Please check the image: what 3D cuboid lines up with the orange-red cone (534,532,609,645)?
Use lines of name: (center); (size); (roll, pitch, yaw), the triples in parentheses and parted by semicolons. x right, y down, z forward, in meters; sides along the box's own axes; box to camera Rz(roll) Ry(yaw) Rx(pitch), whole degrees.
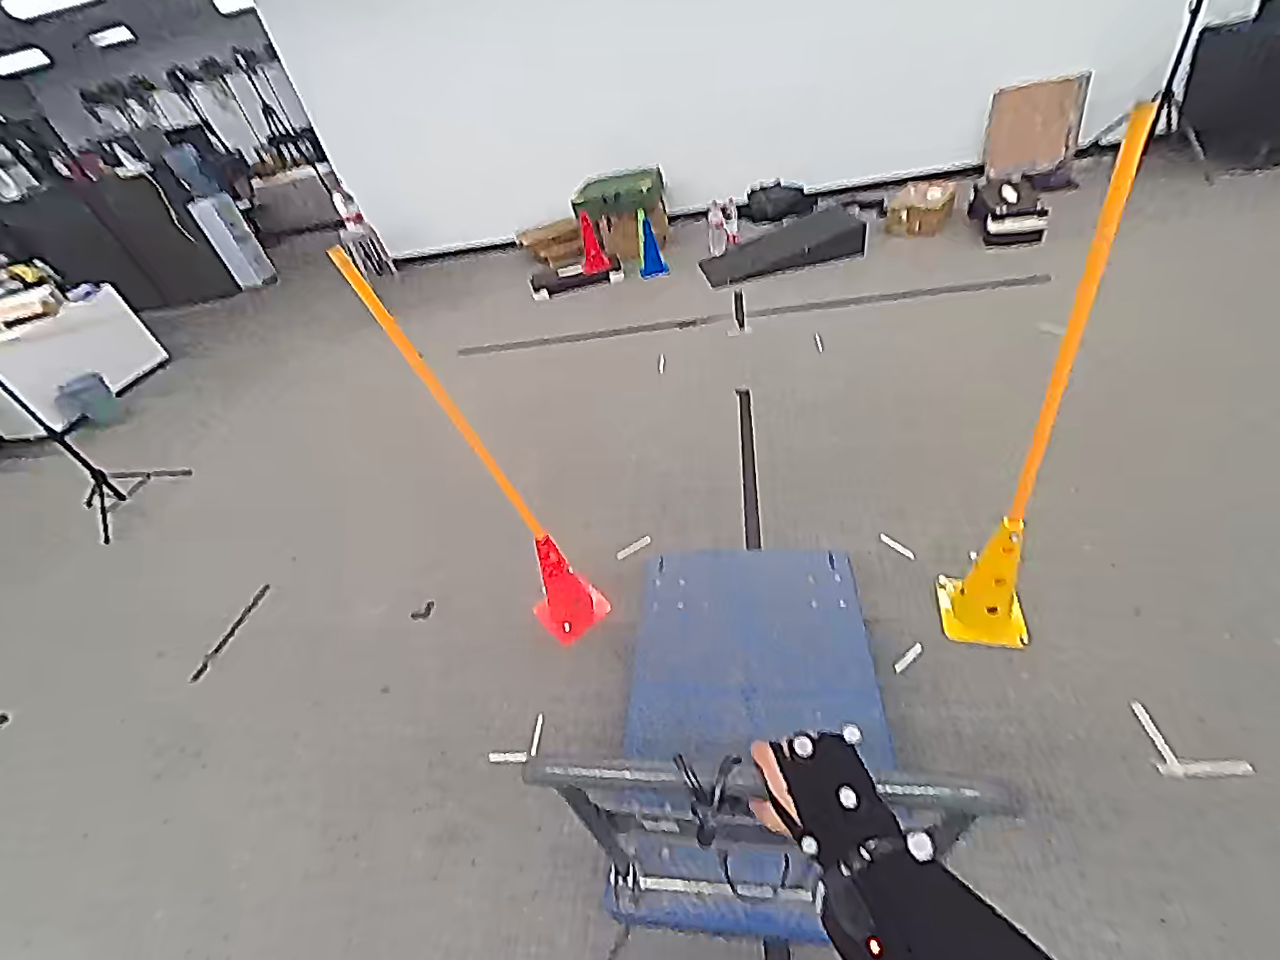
orange-red cone: (-0.246, 0.292, 1.629); (0.199, 0.360, 0.198); (-33, 45, -24)
